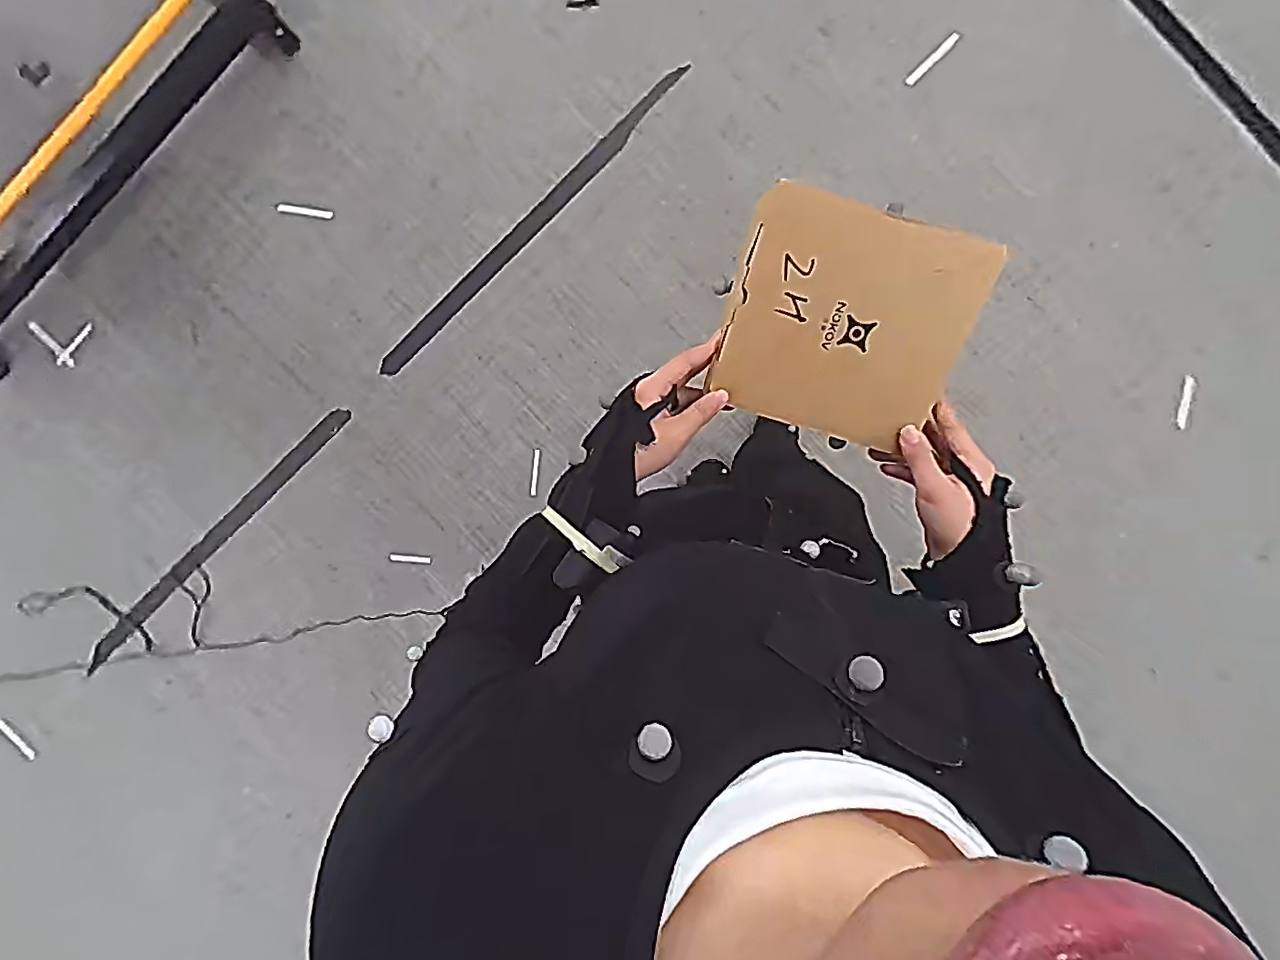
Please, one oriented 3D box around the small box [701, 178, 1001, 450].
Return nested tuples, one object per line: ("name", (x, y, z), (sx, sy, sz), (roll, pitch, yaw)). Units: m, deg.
("small box", (0.162, -0.149, 0.486), (0.179, 0.176, 0.168), (16, 112, 0))
